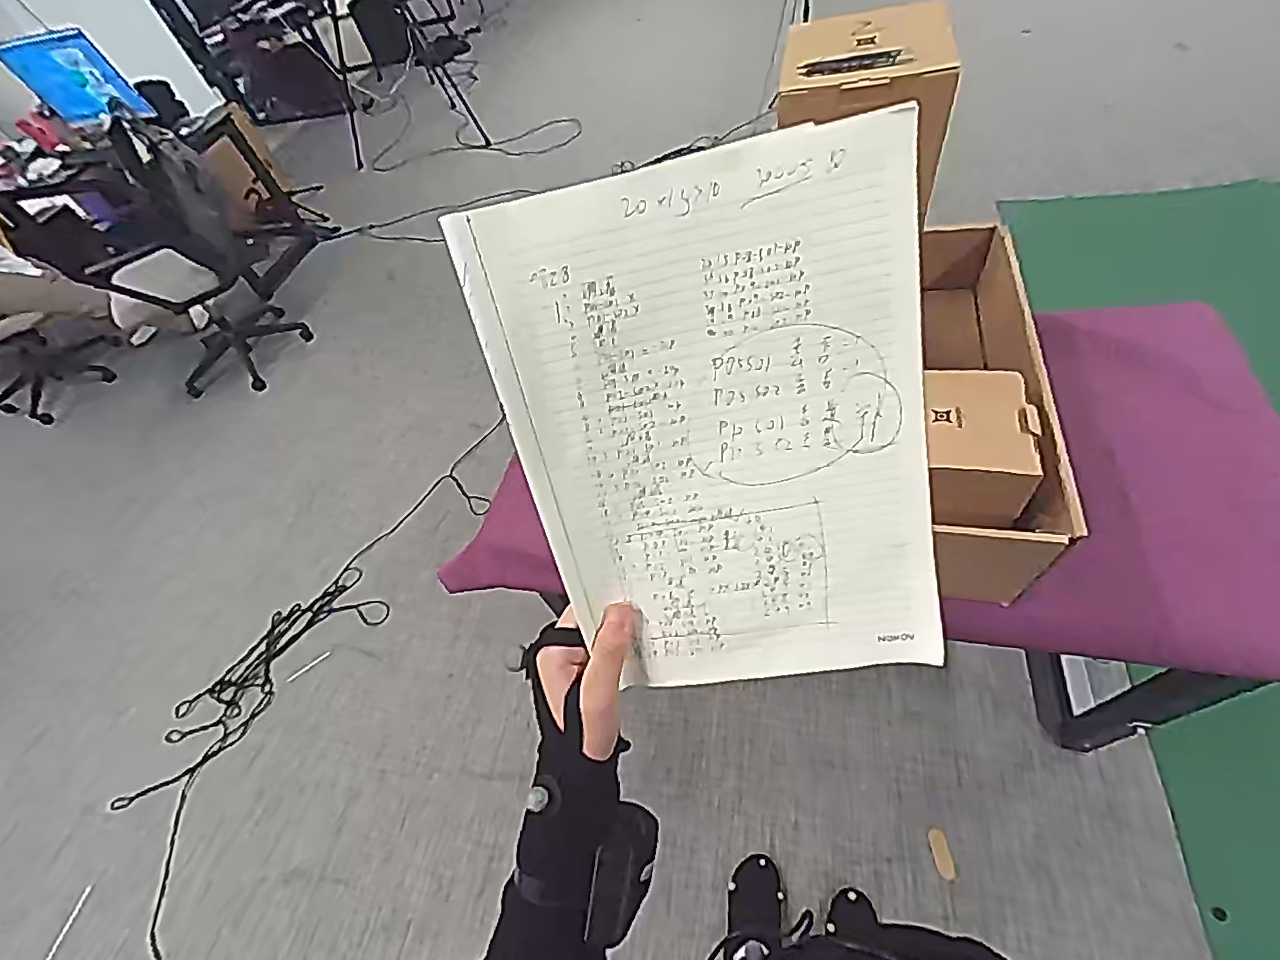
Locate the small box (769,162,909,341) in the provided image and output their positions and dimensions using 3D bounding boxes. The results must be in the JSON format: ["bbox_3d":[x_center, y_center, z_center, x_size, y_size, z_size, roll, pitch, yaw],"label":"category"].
[{"bbox_3d":[0.279,-0.316,0.770,0.168,0.176,0.179,6,57,18],"label":"small box"}]
